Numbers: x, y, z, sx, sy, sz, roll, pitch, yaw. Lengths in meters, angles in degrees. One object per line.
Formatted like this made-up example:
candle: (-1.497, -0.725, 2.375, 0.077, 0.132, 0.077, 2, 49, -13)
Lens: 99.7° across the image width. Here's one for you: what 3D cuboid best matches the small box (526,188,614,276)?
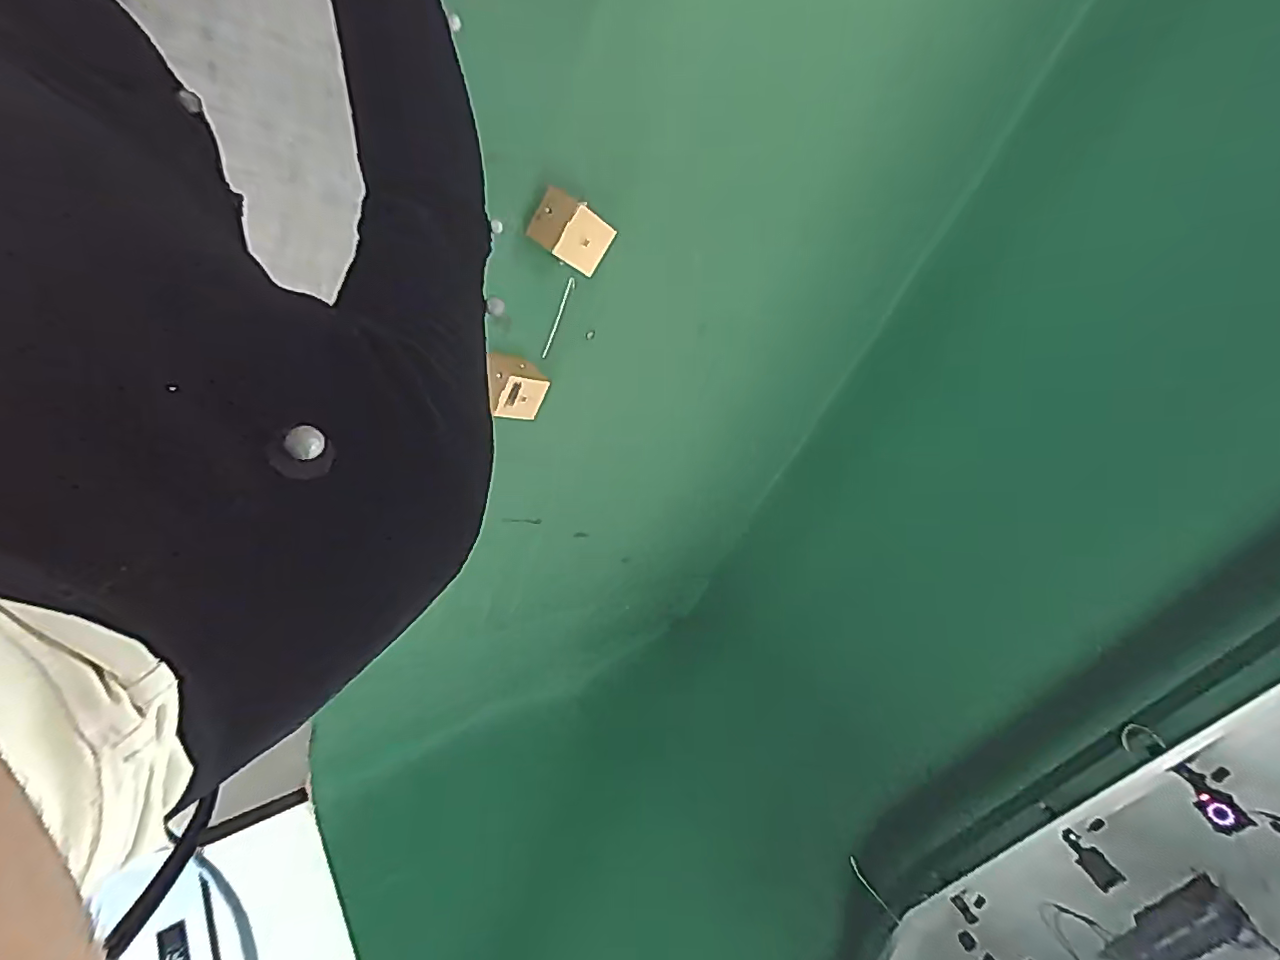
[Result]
small box: (-0.222, -0.781, 1.700, 0.179, 0.176, 0.168, 12, 119, -52)
